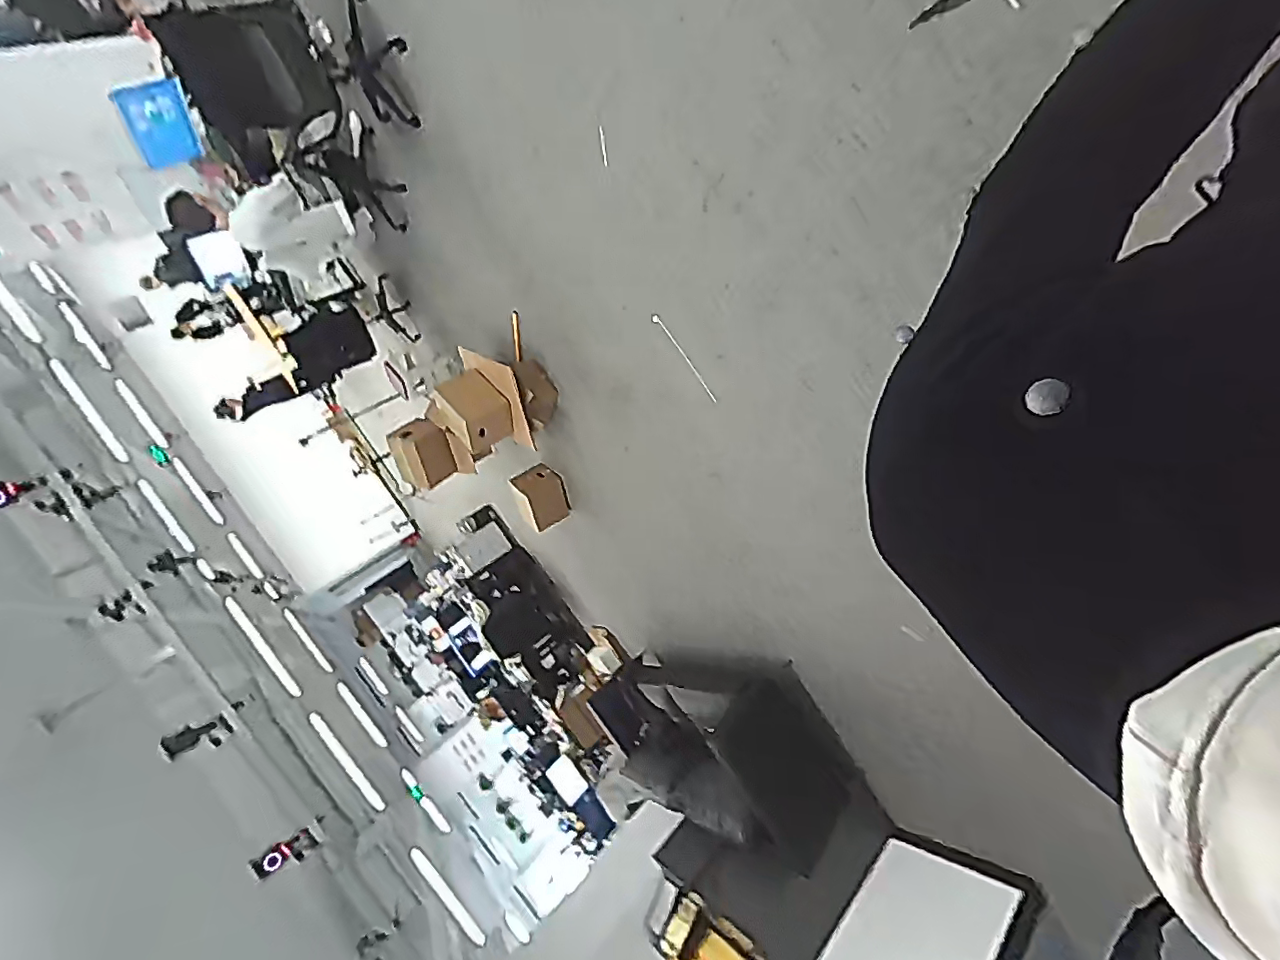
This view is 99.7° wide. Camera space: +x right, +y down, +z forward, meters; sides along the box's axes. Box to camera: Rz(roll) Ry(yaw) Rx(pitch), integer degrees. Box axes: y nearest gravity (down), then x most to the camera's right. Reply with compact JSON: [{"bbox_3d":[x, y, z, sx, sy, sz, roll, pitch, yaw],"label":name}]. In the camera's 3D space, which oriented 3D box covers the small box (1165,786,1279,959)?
[{"bbox_3d":[0.898,0.572,0.758,0.168,0.176,0.179,58,151,-7],"label":"small box"}]
